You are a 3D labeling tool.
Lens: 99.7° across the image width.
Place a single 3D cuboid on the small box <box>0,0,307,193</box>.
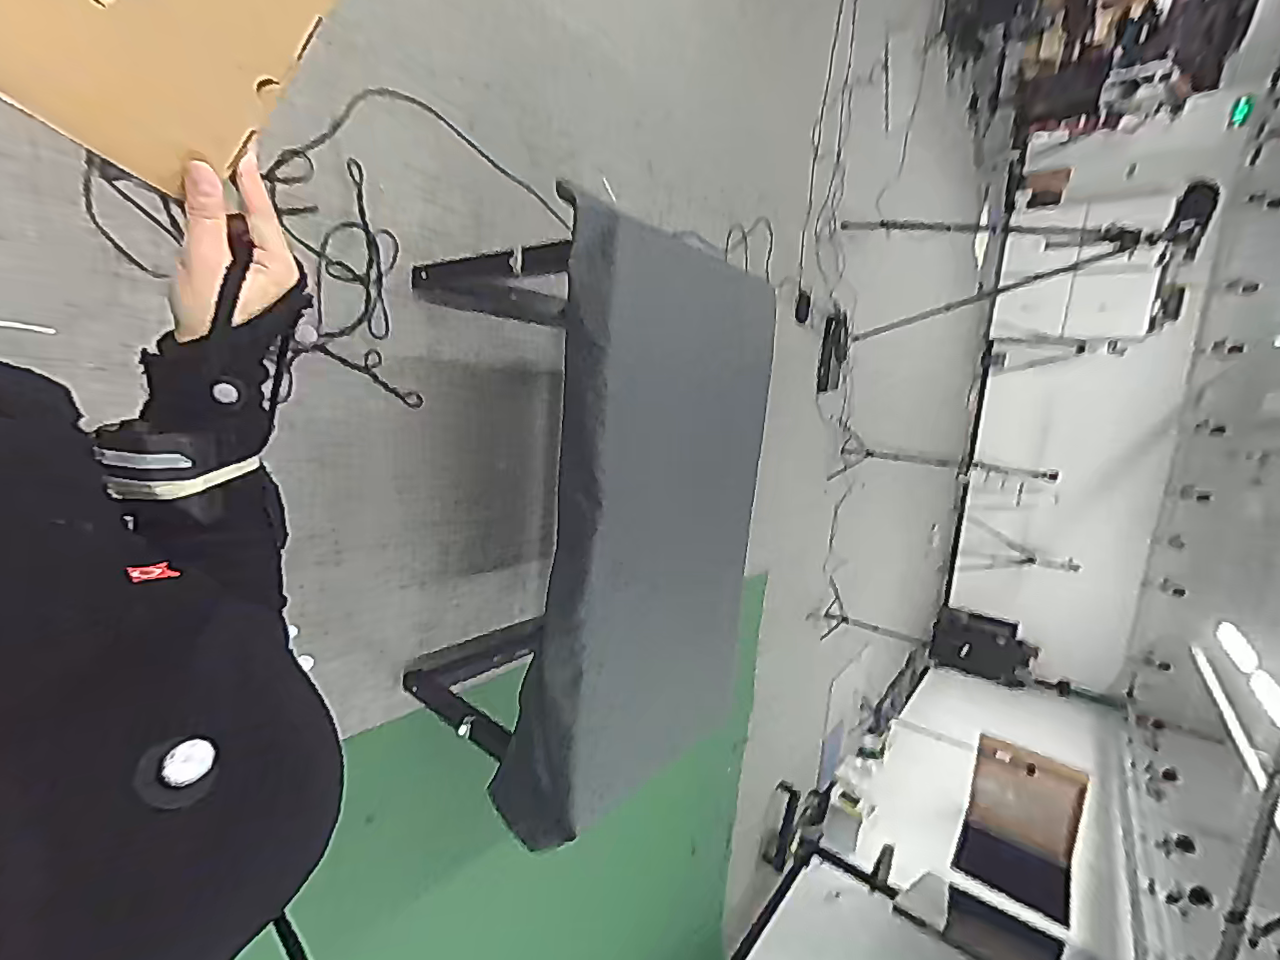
[{"bbox_3d":[-0.307,-0.296,0.281,0.168,0.176,0.179,-51,146,9],"label":"small box"}]
